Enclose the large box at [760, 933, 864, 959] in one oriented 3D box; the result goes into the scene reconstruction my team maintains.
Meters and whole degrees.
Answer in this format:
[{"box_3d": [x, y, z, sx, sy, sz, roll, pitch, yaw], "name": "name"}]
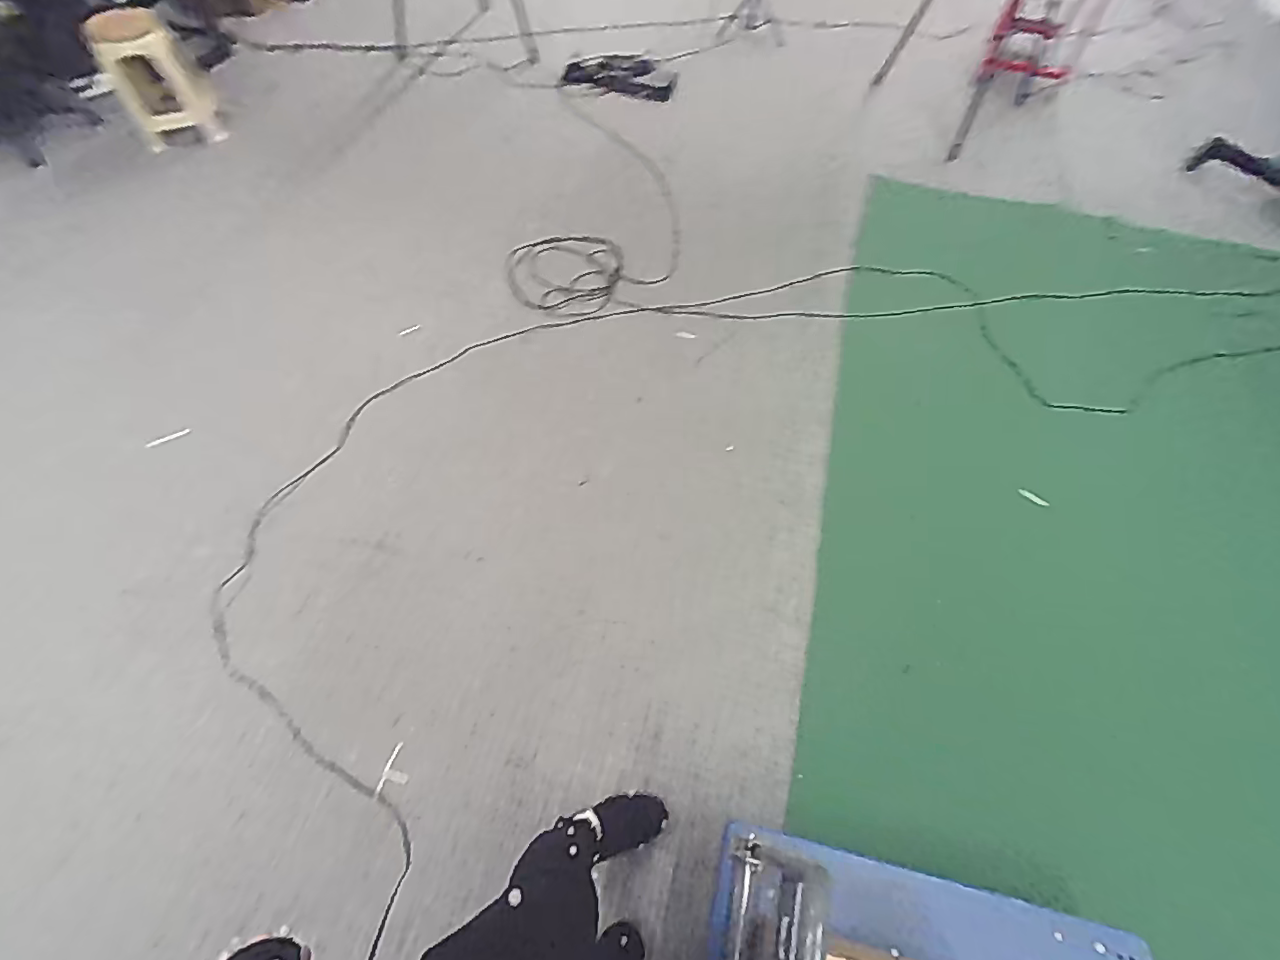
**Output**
[{"box_3d": [0.412, 0.997, 0.873, 0.408, 0.320, 0.320, 13, 59, 5], "name": "large box"}]
